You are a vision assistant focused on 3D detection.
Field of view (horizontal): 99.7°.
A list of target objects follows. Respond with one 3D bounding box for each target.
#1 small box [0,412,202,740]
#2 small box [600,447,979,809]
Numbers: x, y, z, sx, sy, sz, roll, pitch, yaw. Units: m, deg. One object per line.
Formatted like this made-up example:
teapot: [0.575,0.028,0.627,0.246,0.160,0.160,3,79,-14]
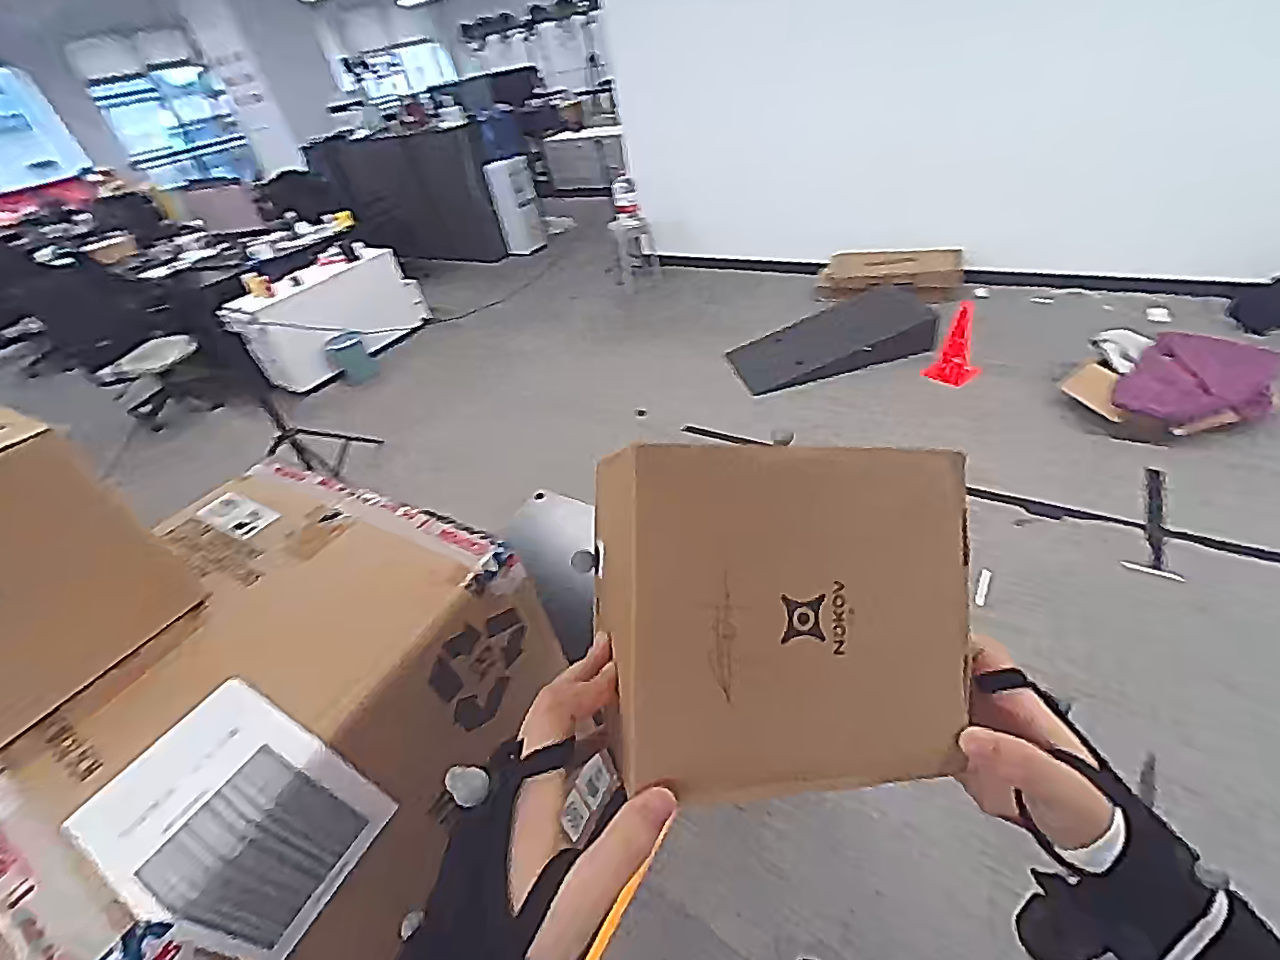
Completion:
small box: [-0.482,0.068,0.386,0.168,0.176,0.179,11,44,29]
small box: [0.071,0.070,0.338,0.179,0.168,0.176,0,-3,-9]
